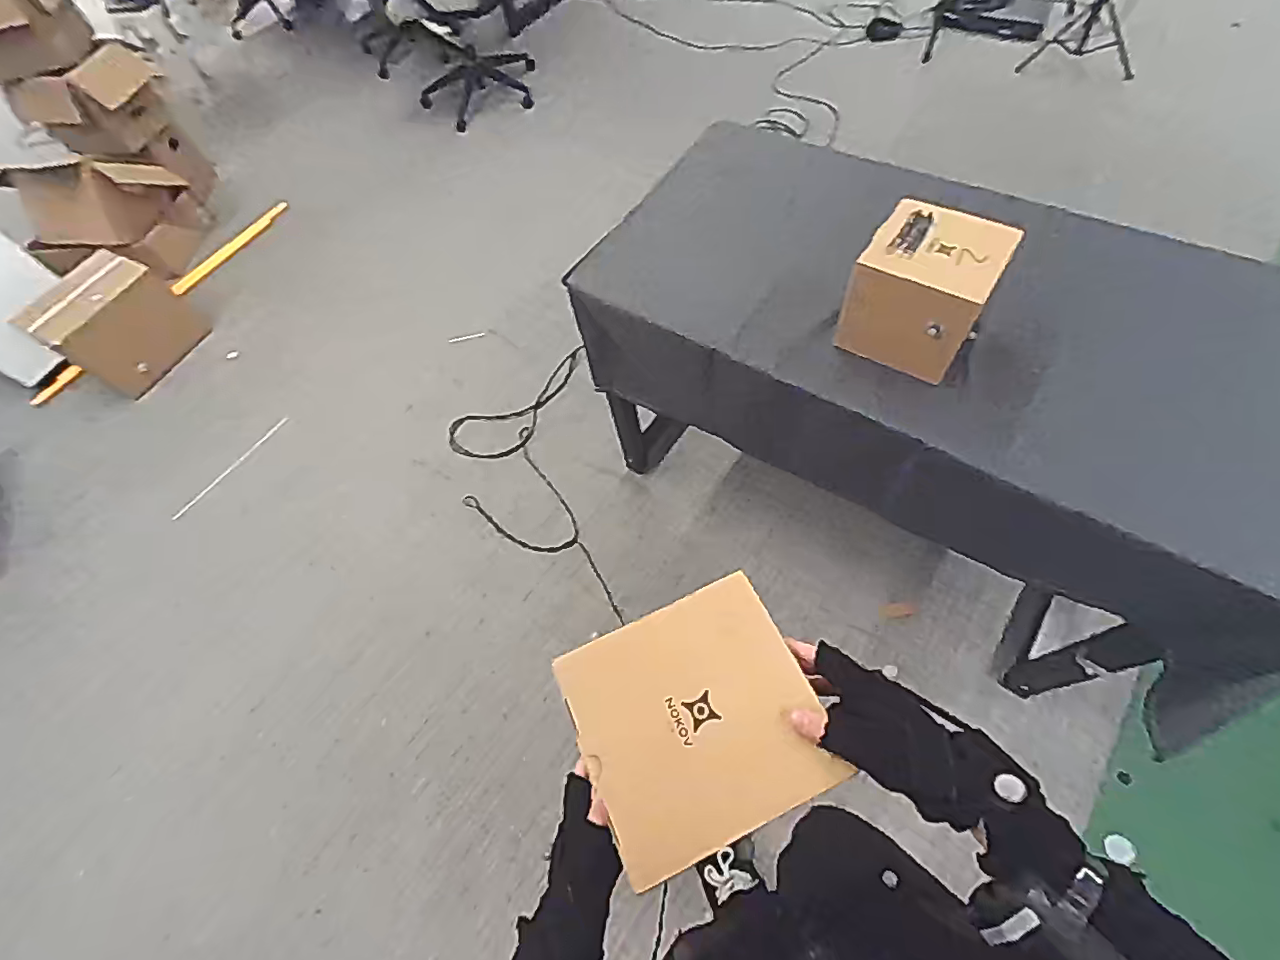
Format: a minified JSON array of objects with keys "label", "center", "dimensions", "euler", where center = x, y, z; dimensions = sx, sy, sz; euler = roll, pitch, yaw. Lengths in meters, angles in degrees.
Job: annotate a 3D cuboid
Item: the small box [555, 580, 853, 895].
[{"label":"small box","center":[0.047,0.216,0.475],"dimensions":[0.179,0.176,0.168],"euler":[-24,62,-7]}]
